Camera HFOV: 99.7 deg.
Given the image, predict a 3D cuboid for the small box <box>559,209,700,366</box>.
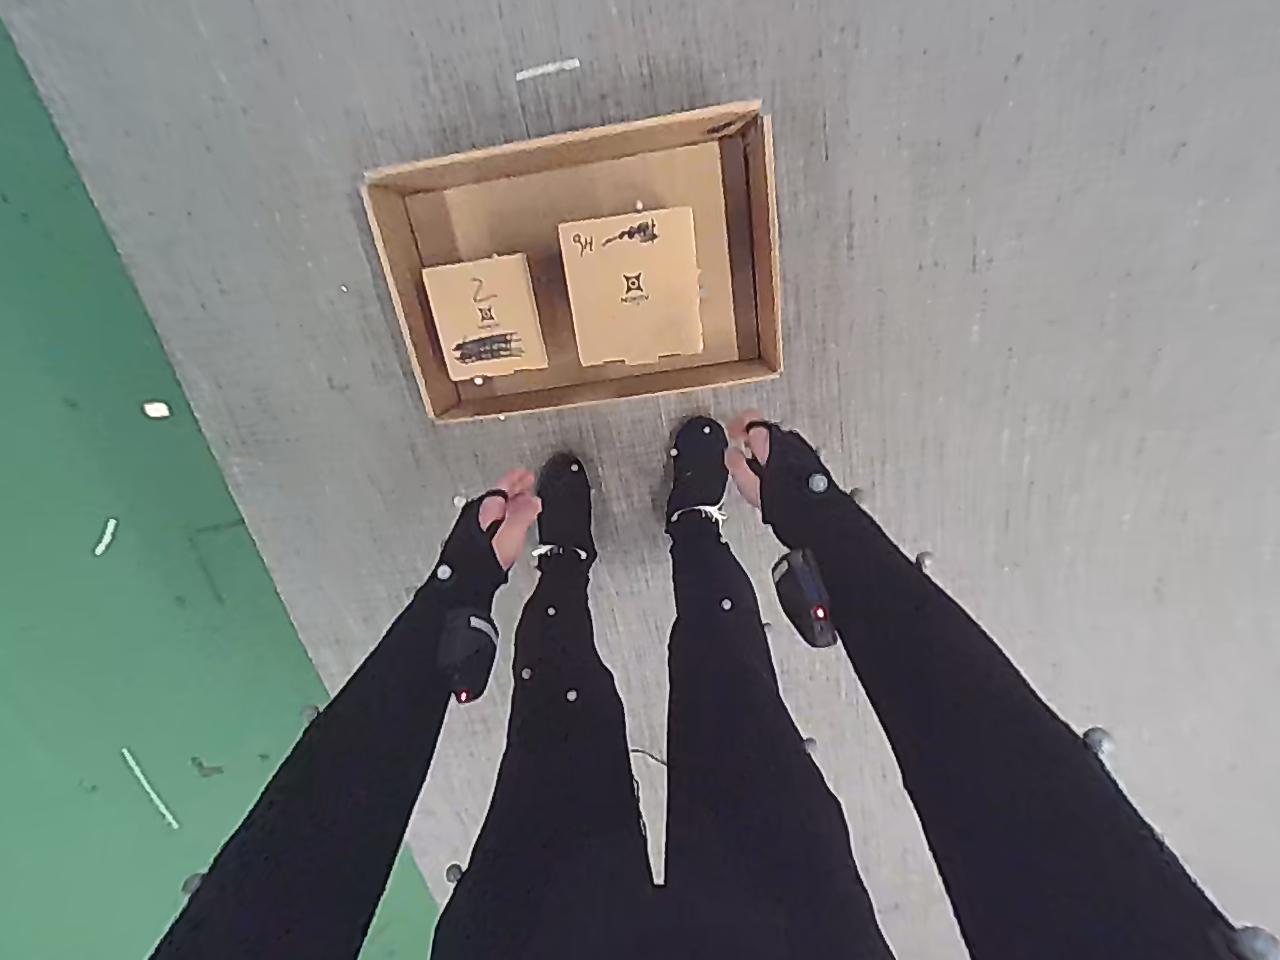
[{"bbox_3d":[-0.005,-0.270,0.753,0.168,0.176,0.179,-5,113,5],"label":"small box"}]
